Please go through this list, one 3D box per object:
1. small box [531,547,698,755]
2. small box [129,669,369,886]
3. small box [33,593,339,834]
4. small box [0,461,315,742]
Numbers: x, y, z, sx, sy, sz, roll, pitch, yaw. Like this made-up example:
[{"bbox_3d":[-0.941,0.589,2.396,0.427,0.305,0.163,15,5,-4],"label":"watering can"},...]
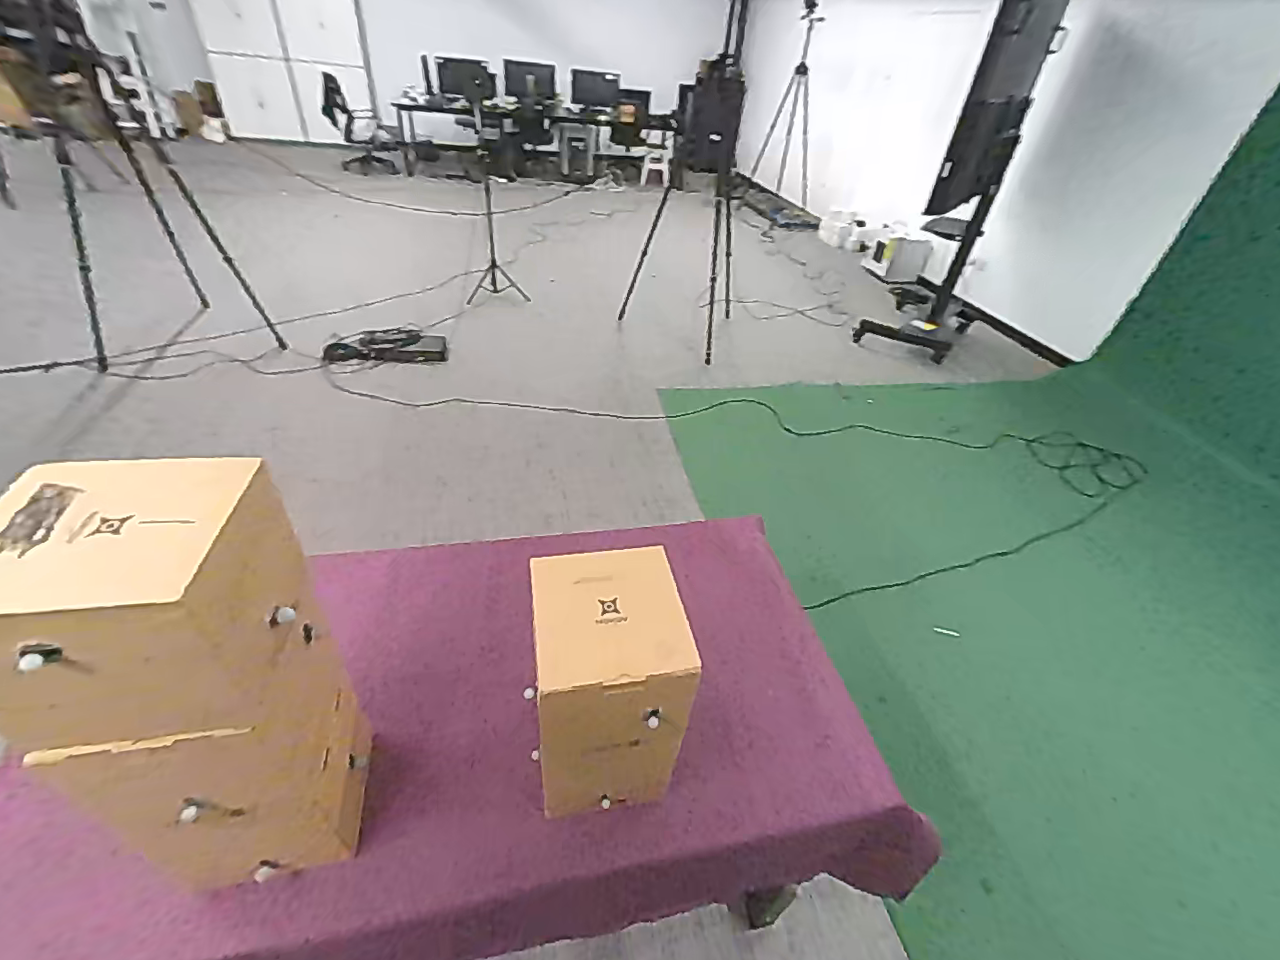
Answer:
[{"bbox_3d":[-0.041,0.206,0.648,0.168,0.176,0.179,-3,40,-13],"label":"small box"},{"bbox_3d":[-0.447,0.360,0.661,0.179,0.176,0.168,-4,40,-14],"label":"small box"},{"bbox_3d":[-0.433,0.229,0.561,0.168,0.176,0.179,-4,40,-12],"label":"small box"},{"bbox_3d":[-0.413,0.100,0.460,0.179,0.176,0.168,-2,40,-12],"label":"small box"}]
